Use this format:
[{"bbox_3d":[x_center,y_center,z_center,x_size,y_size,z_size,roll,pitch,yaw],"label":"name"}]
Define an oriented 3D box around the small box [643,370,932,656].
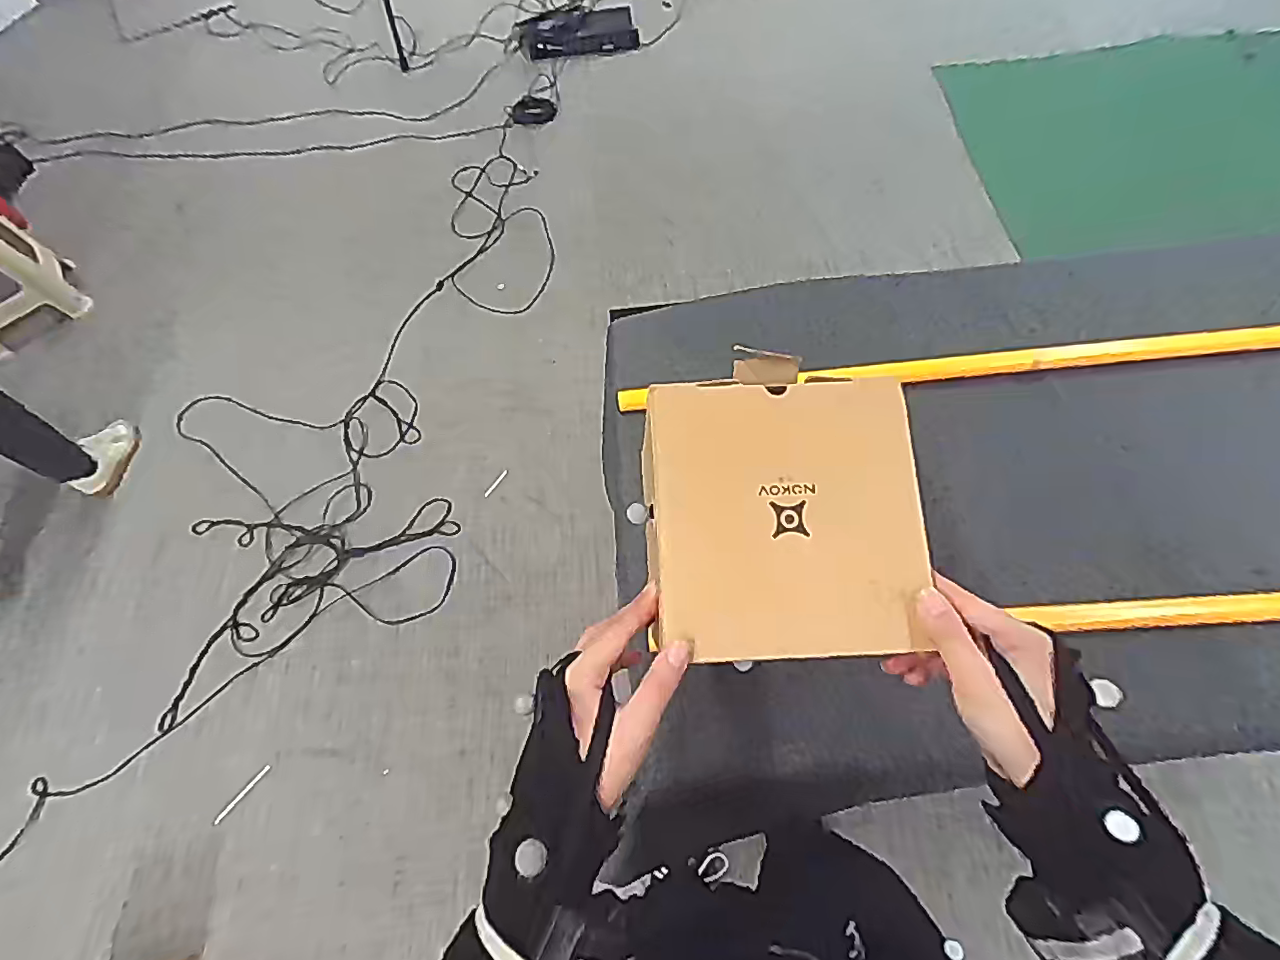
[{"bbox_3d":[0.088,0.033,0.415,0.168,0.176,0.179,-3,76,-1],"label":"small box"}]
